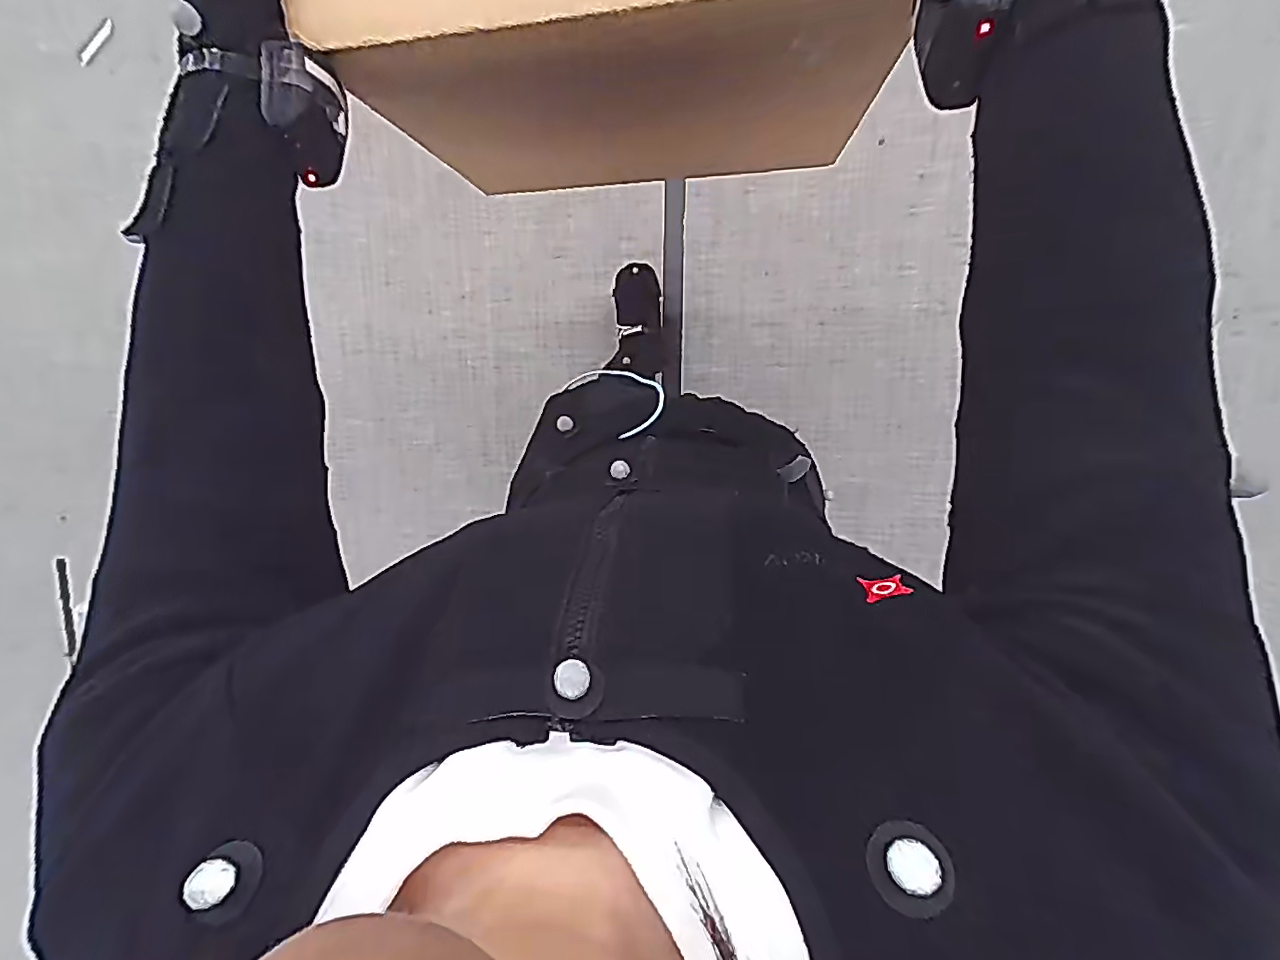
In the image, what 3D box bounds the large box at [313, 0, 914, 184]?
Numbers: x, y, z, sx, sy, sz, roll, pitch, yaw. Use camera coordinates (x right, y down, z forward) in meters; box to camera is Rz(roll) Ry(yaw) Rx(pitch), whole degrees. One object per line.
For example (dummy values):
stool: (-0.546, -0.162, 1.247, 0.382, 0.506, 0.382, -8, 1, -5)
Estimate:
large box: (-0.010, -0.476, 0.446, 0.408, 0.320, 0.320, -2, 103, 7)
